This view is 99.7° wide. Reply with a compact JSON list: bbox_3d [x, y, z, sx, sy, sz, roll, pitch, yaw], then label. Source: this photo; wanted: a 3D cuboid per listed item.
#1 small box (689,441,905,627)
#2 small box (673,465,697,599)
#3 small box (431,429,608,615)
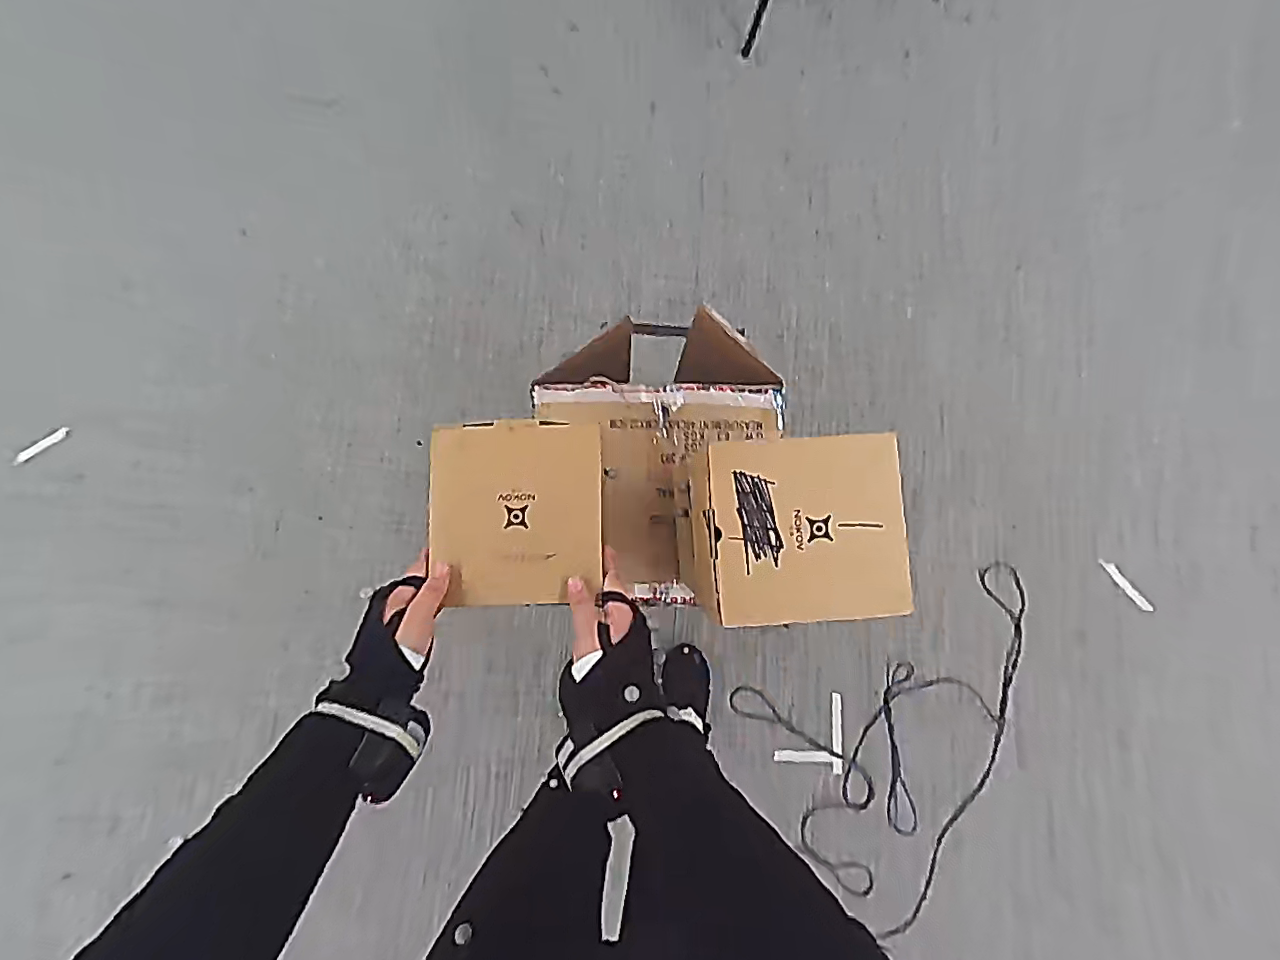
[{"bbox_3d":[0.147,0.055,0.572,0.179,0.176,0.168,-3,86,-3],"label":"small box"},{"bbox_3d":[0.143,0.065,0.738,0.179,0.176,0.168,-4,85,-2],"label":"small box"},{"bbox_3d":[-0.121,0.046,0.599,0.168,0.176,0.179,-2,86,-2],"label":"small box"}]
